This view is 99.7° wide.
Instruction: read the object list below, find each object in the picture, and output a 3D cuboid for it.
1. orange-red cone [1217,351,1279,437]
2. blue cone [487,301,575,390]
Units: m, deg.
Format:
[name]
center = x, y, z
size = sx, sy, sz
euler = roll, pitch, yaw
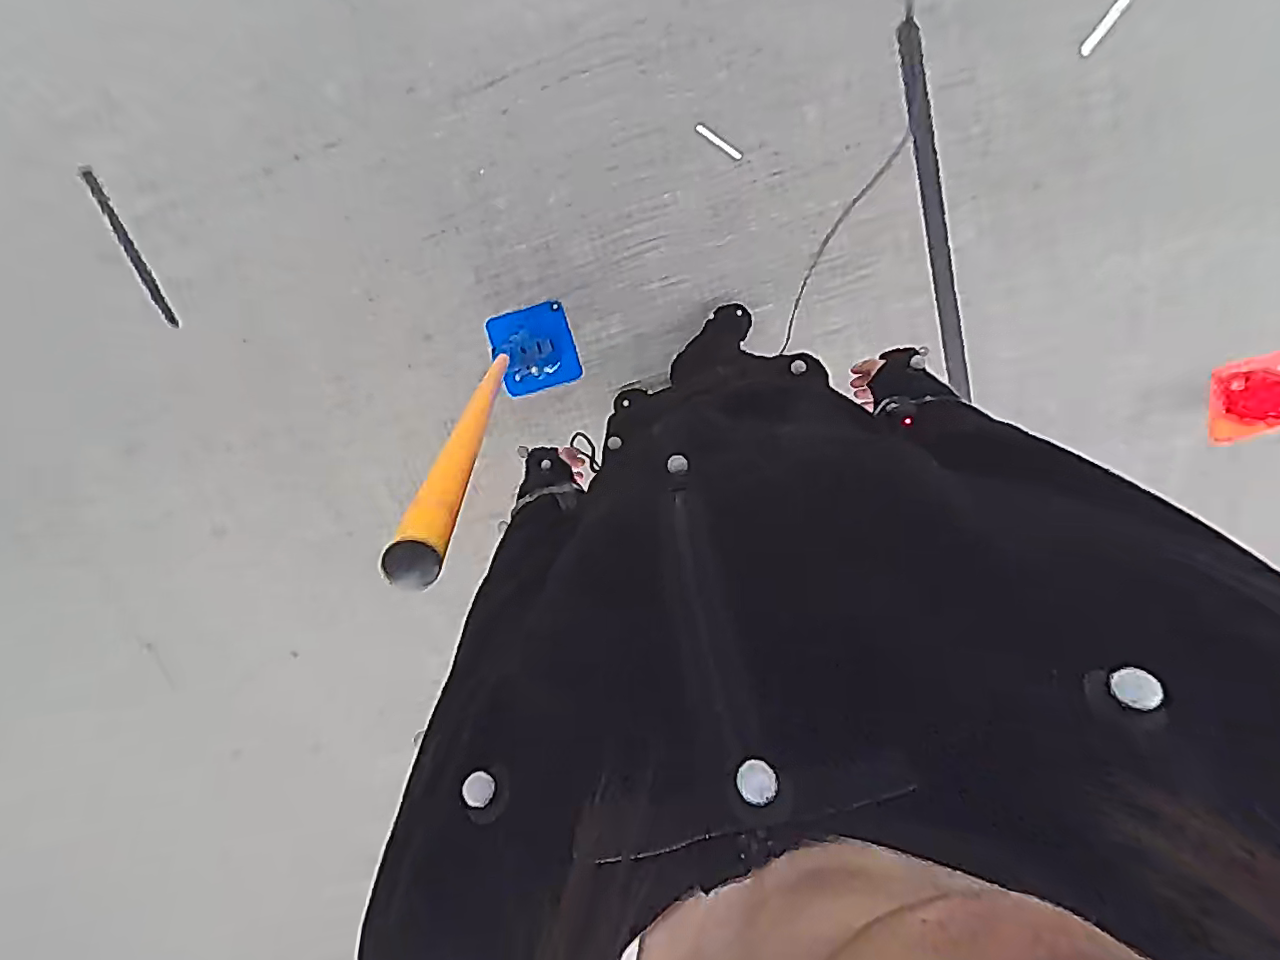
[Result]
[orange-red cone]
center = 1.577, -0.173, 1.213
size = 0.198, 0.360, 0.199
euler = -14, 107, 4
[blue cone]
center = -0.266, -0.284, 1.183
size = 0.193, 0.380, 0.192
euler = -14, 105, 3
